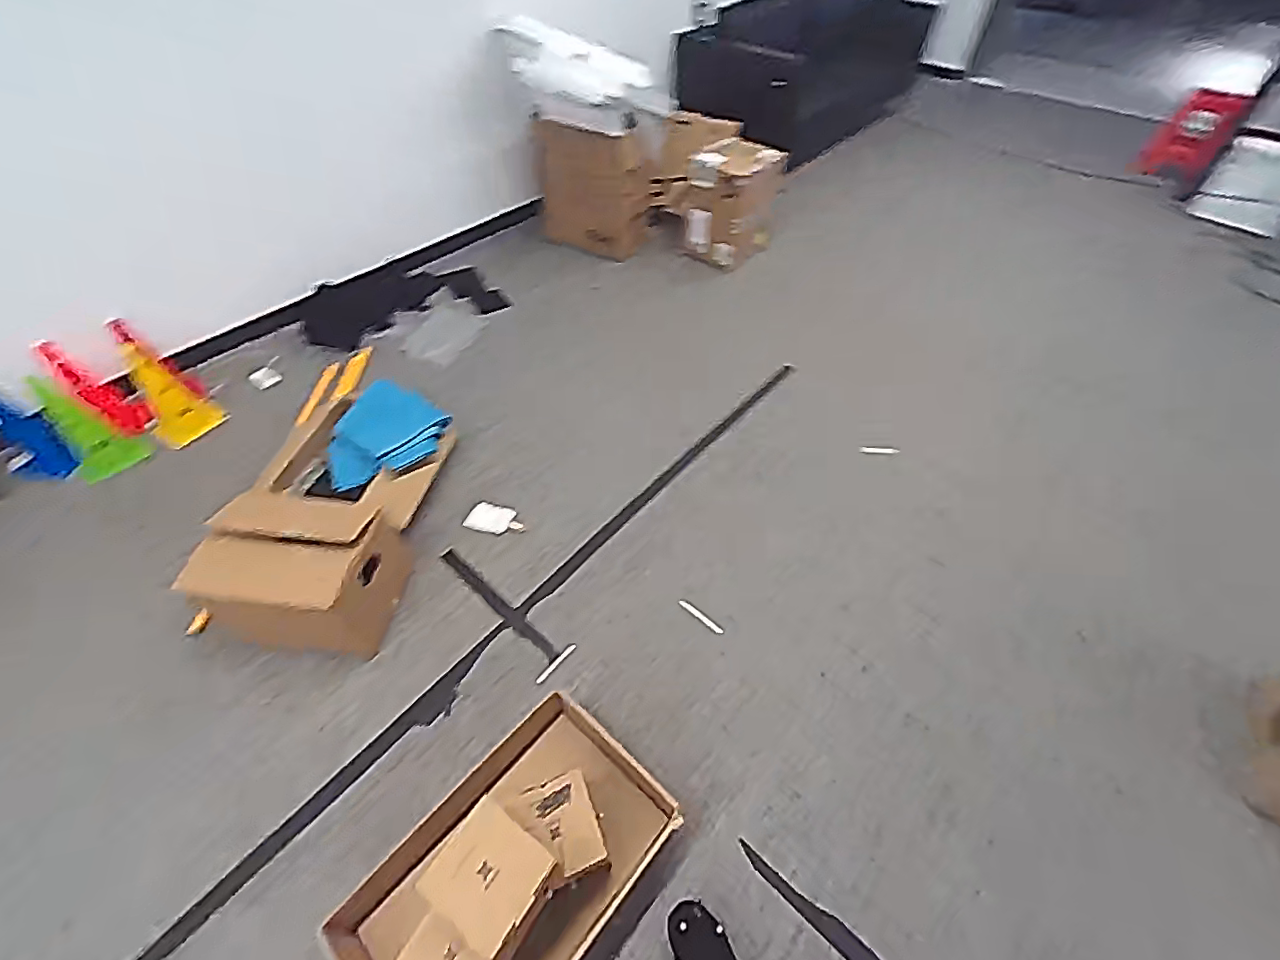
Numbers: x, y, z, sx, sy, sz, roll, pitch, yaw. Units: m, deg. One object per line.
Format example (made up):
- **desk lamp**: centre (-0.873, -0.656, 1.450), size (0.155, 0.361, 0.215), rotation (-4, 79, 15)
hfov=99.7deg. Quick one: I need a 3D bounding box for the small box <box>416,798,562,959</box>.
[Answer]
- **small box**: centre (-0.256, 0.713, 0.967), size (0.179, 0.176, 0.168), rotation (26, 53, 21)
